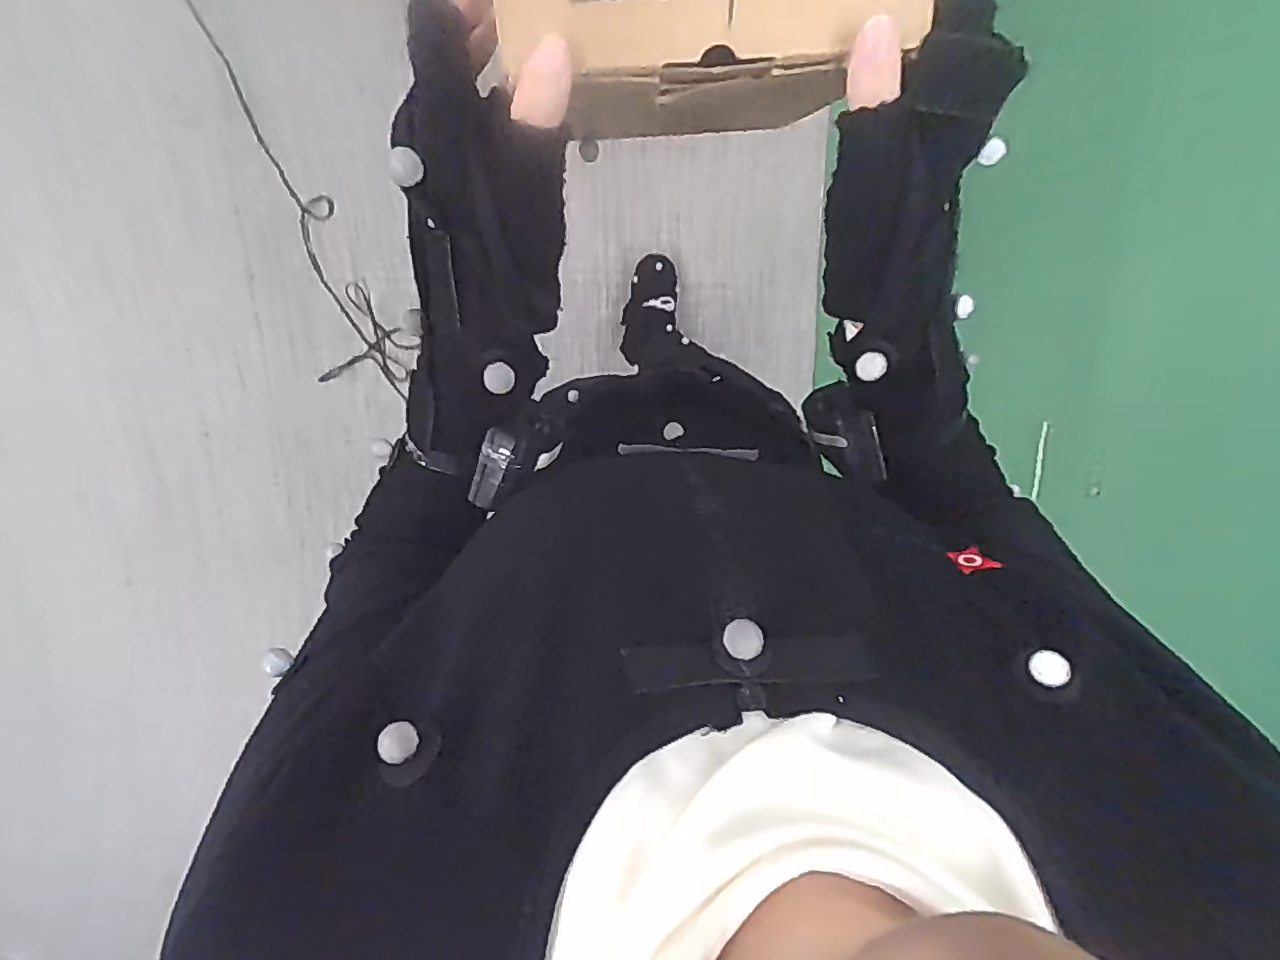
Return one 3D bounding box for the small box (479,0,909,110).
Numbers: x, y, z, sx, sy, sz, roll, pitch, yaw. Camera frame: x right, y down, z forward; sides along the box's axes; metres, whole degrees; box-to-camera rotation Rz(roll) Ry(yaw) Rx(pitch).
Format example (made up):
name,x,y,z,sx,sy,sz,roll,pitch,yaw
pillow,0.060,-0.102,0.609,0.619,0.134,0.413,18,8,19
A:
name,x,y,z,sx,sy,sz,roll,pitch,yaw
small box,0.012,-0.282,0.241,0.168,0.176,0.179,-6,115,-3
